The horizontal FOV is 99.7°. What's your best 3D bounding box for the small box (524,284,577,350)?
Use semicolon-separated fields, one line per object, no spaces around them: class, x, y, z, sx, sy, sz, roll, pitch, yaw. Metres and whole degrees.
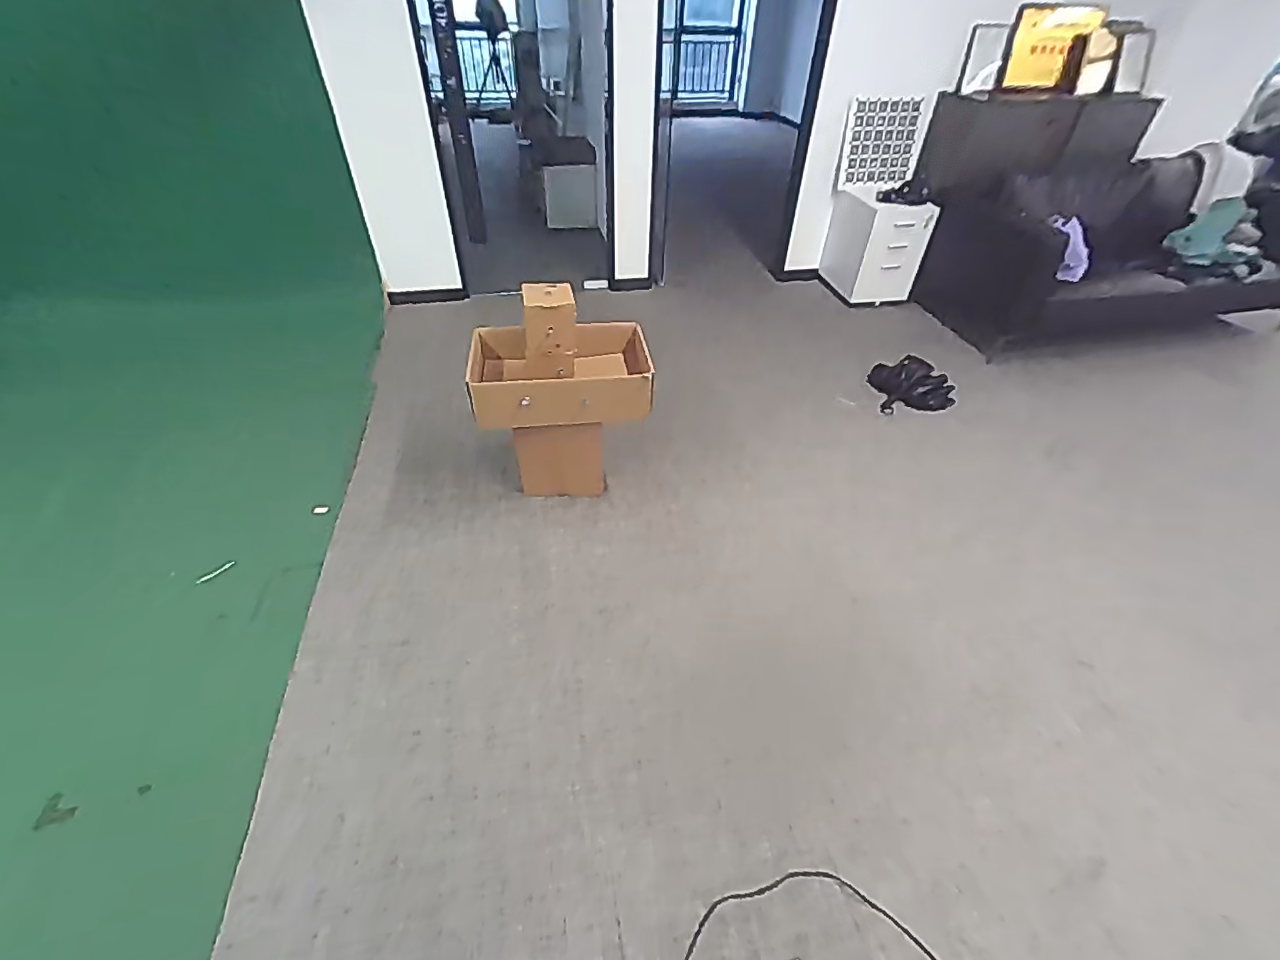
small box;-0.306;-0.553;1.846;0.168;0.176;0.179;-5;43;-11

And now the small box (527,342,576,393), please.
small box;-0.317;-0.425;1.948;0.168;0.176;0.179;-3;40;-10
